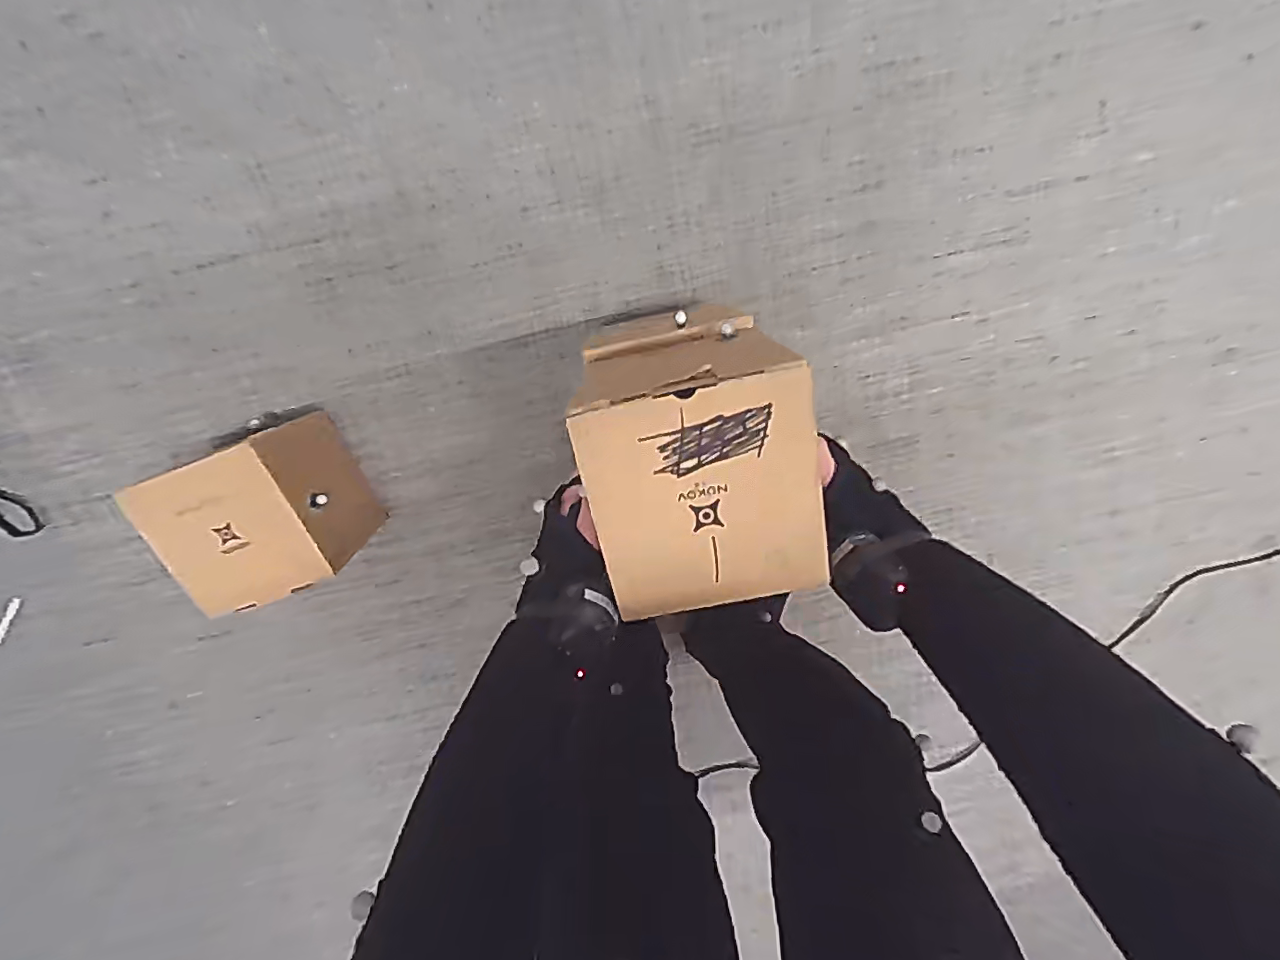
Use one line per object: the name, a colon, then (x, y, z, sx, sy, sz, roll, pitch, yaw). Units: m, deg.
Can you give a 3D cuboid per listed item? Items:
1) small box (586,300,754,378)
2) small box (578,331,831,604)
small box: (0.043, -0.097, 0.621, 0.168, 0.176, 0.179, -11, 112, 4)
small box: (0.051, -0.024, 0.471, 0.168, 0.176, 0.179, -12, 112, 5)
